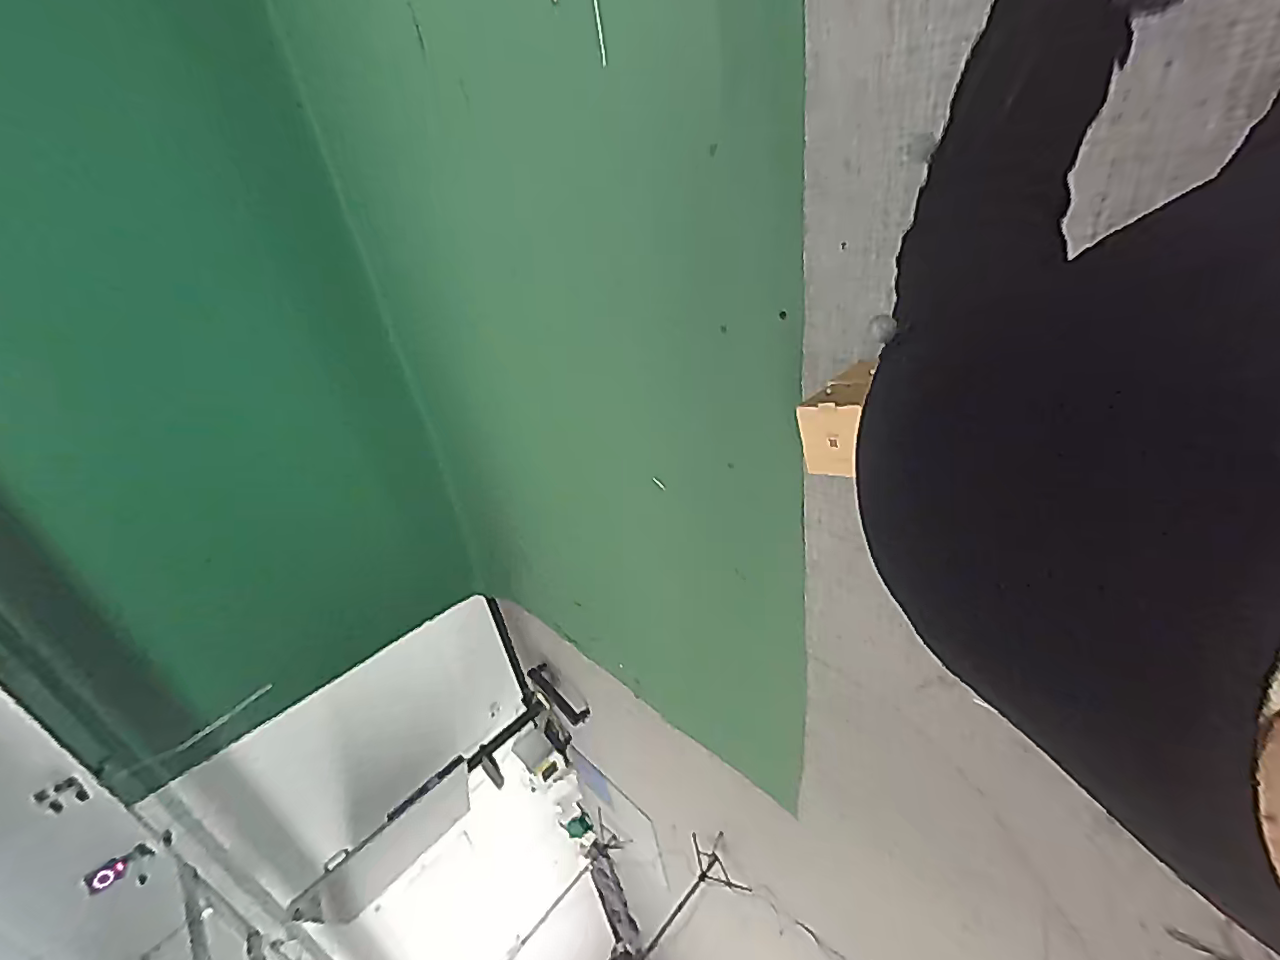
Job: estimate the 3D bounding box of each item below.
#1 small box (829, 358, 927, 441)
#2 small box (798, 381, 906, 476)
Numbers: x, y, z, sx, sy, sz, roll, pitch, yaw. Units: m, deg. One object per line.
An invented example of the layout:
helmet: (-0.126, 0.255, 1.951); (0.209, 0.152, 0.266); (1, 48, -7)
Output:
small box: (0.609, -0.204, 1.369); (0.179, 0.176, 0.168); (10, 123, 49)
small box: (0.502, -0.128, 1.273); (0.168, 0.176, 0.179); (7, 122, 51)
